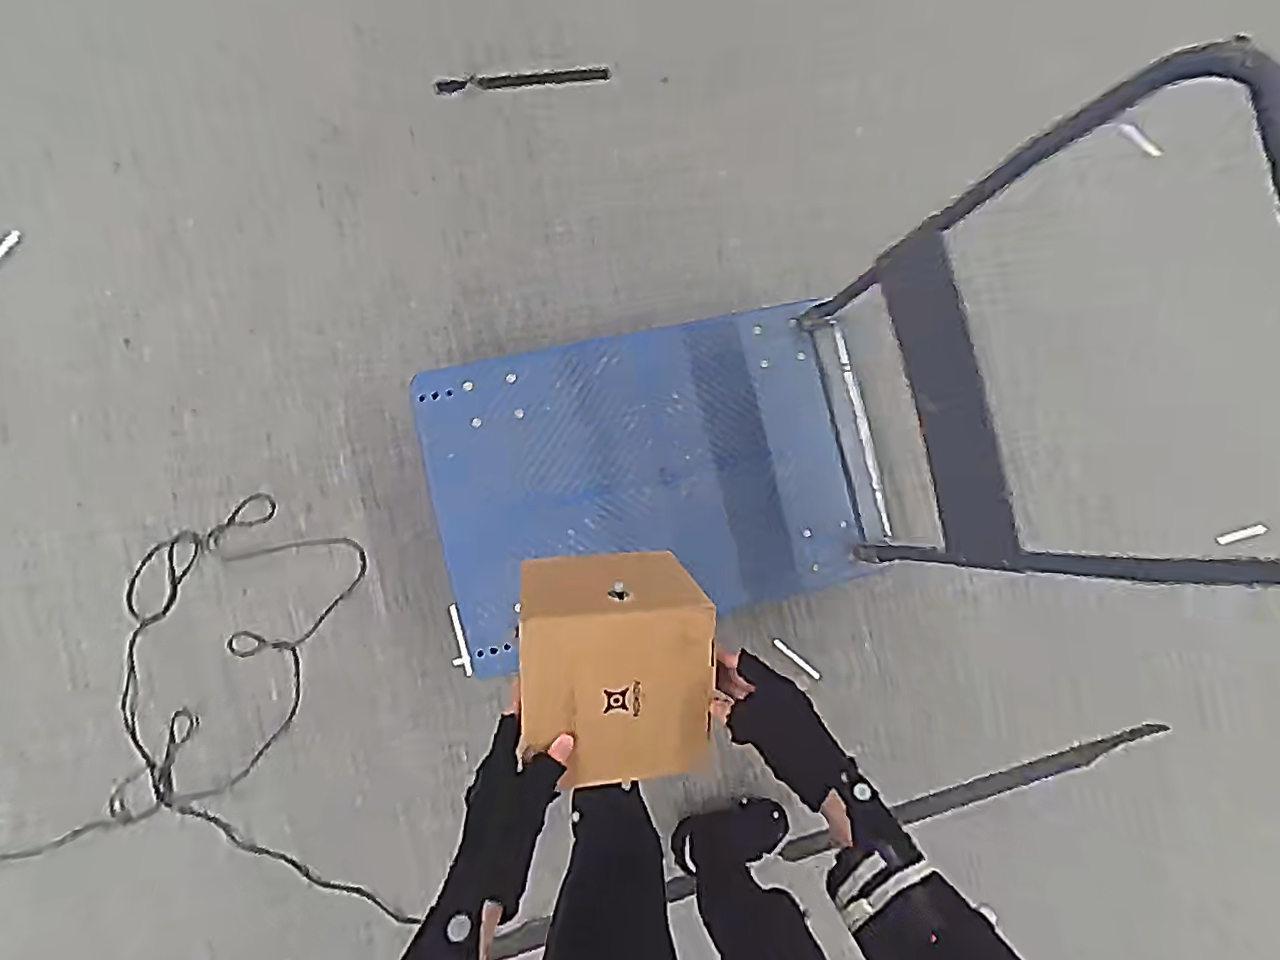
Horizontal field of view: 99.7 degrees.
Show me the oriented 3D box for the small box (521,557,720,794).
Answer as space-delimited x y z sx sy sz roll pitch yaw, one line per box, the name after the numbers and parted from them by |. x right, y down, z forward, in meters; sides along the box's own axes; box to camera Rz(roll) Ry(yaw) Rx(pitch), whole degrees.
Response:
-0.031 0.182 0.556 0.179 0.176 0.168 -1 100 -11 | small box
